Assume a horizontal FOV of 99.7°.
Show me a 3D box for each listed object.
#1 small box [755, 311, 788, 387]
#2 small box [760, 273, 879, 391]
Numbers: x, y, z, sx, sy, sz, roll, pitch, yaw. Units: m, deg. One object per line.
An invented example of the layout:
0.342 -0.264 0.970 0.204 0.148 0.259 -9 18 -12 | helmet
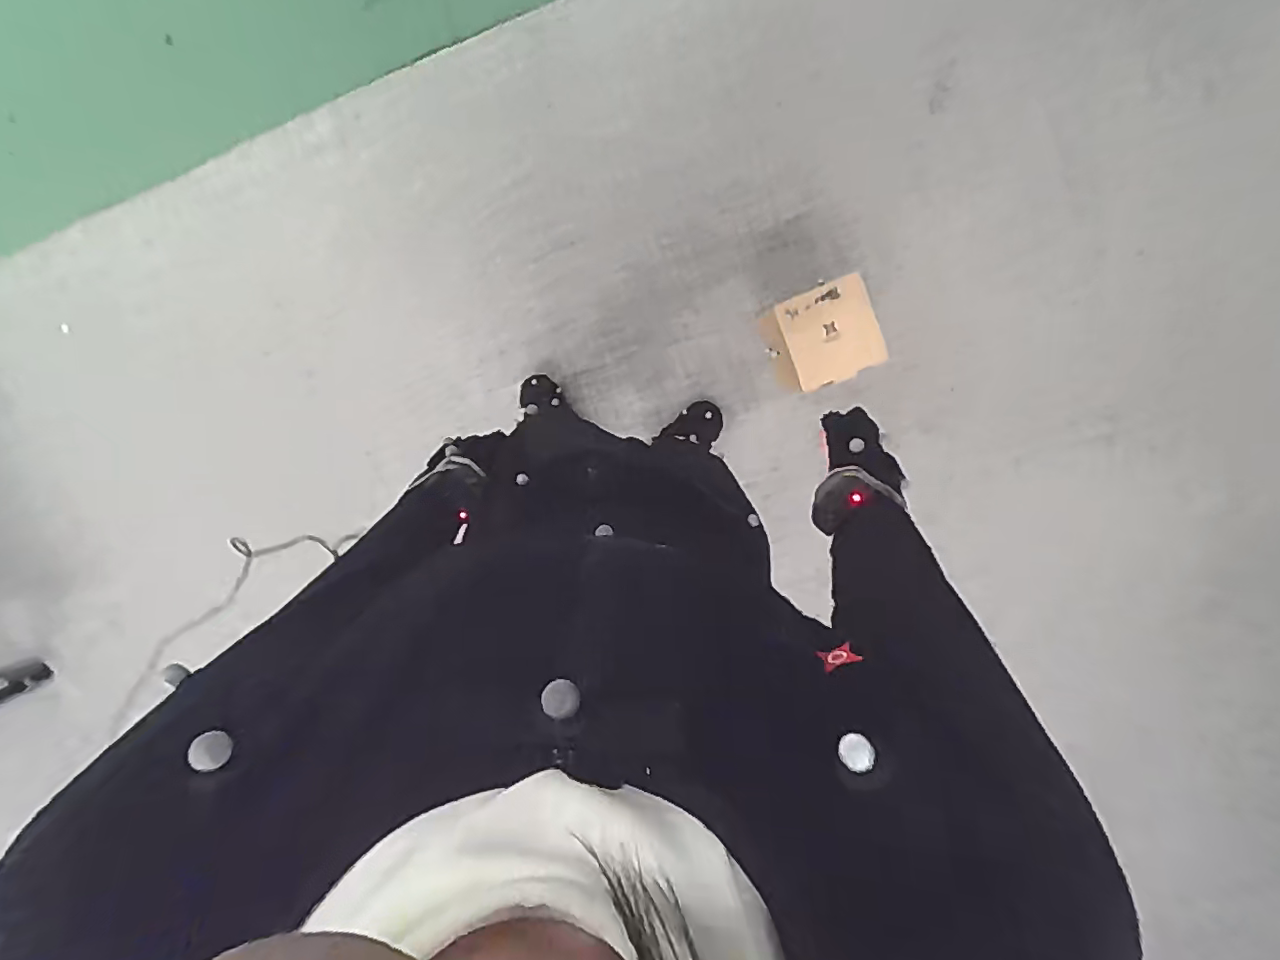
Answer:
0.373 -0.325 1.247 0.168 0.176 0.179 -17 99 9 | small box
0.353 -0.292 1.087 0.168 0.176 0.179 -20 100 9 | small box
